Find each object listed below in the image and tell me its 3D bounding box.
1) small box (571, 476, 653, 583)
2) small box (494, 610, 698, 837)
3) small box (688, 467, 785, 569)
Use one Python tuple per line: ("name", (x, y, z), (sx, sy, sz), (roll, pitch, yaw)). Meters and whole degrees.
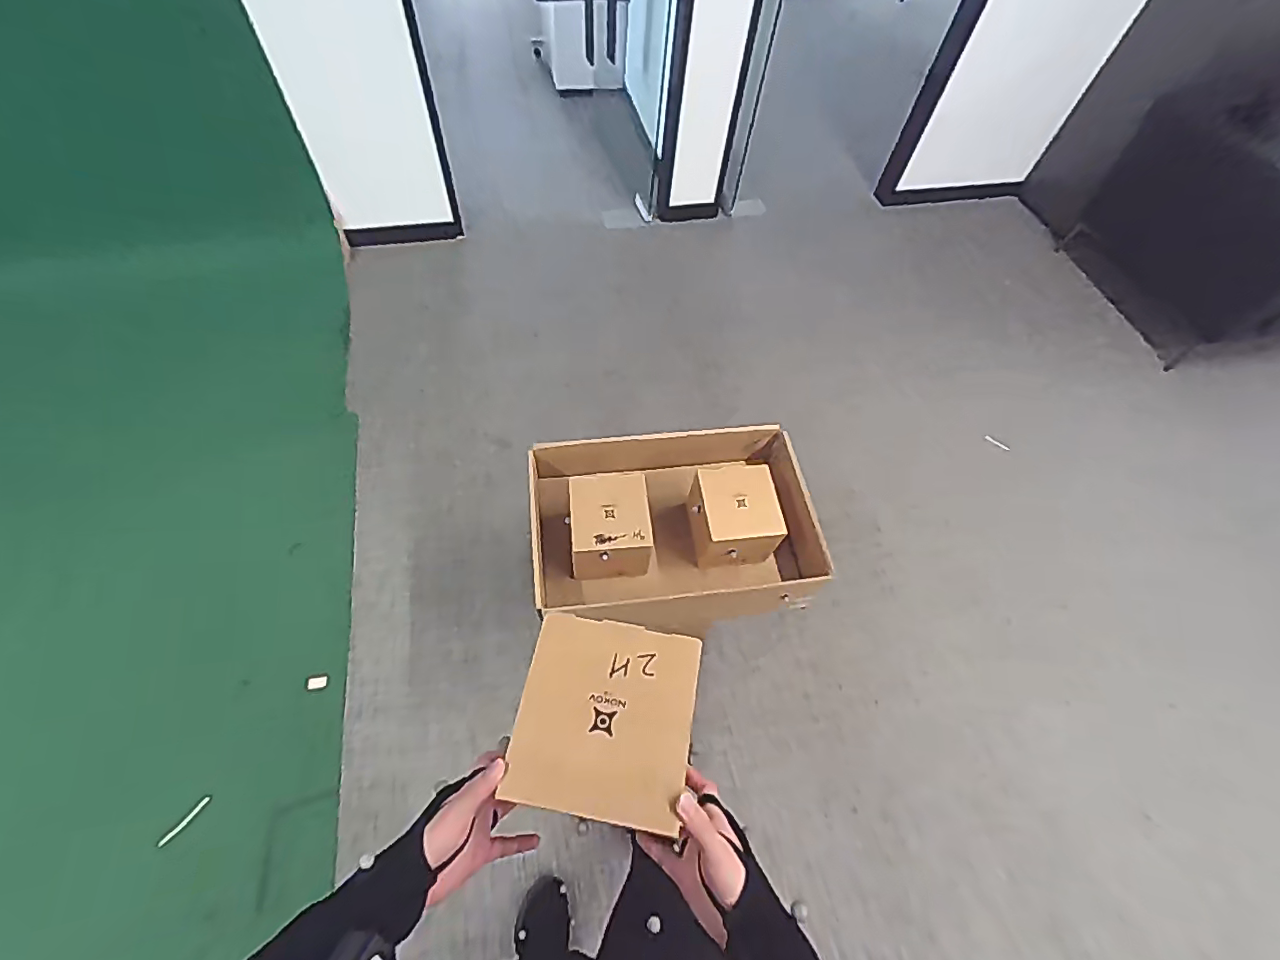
("small box", (-0.066, 0.110, 1.189), (0.168, 0.176, 0.179), (-3, 59, -5))
("small box", (-0.037, 0.265, 0.584), (0.168, 0.176, 0.179), (10, 57, 4))
("small box", (0.210, 0.092, 1.225), (0.168, 0.176, 0.179), (-5, 59, -7))
